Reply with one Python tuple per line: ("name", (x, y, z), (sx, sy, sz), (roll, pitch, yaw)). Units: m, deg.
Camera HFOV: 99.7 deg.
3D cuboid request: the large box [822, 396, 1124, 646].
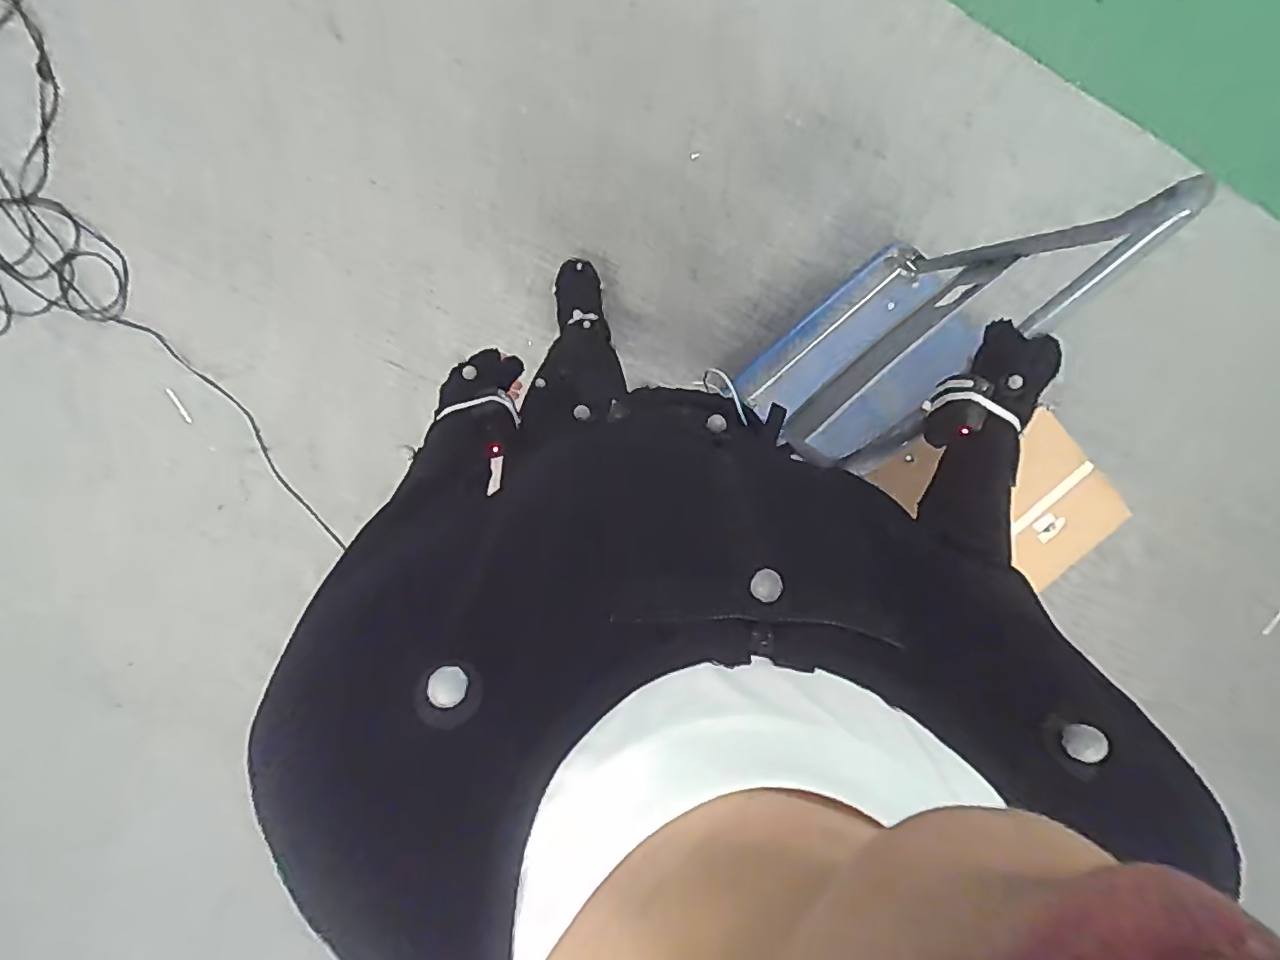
("large box", (0.694, 0.069, 1.195), (0.408, 0.320, 0.320), (-45, 102, 7))
